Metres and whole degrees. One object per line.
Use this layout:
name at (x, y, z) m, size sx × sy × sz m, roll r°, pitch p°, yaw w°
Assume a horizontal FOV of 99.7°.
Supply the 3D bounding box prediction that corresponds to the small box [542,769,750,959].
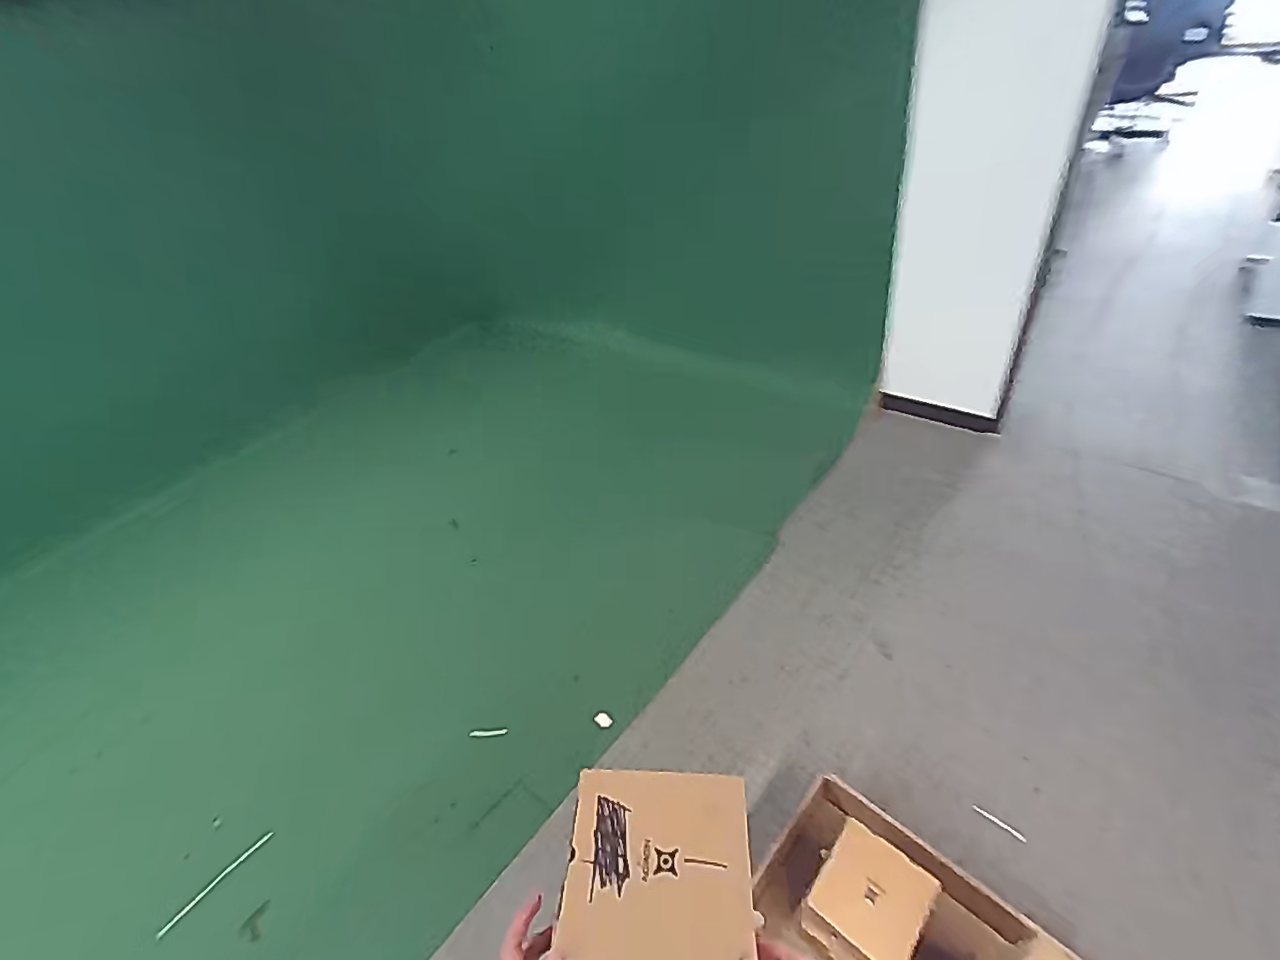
small box at (0.016, 0.422, 0.549) m, size 0.179 × 0.176 × 0.168 m, roll -1°, pitch 34°, yaw 6°

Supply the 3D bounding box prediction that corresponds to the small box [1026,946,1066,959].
small box at (0.561, 0.774, 0.711) m, size 0.168 × 0.176 × 0.179 m, roll -33°, pitch 43°, yaw -18°

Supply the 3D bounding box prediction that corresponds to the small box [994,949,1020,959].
small box at (0.598, 0.883, 0.831) m, size 0.168 × 0.176 × 0.179 m, roll -39°, pitch 46°, yaw -24°

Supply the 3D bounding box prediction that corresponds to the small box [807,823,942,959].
small box at (0.425, 0.789, 0.995) m, size 0.168 × 0.176 × 0.179 m, roll 26°, pitch 55°, yaw 35°
